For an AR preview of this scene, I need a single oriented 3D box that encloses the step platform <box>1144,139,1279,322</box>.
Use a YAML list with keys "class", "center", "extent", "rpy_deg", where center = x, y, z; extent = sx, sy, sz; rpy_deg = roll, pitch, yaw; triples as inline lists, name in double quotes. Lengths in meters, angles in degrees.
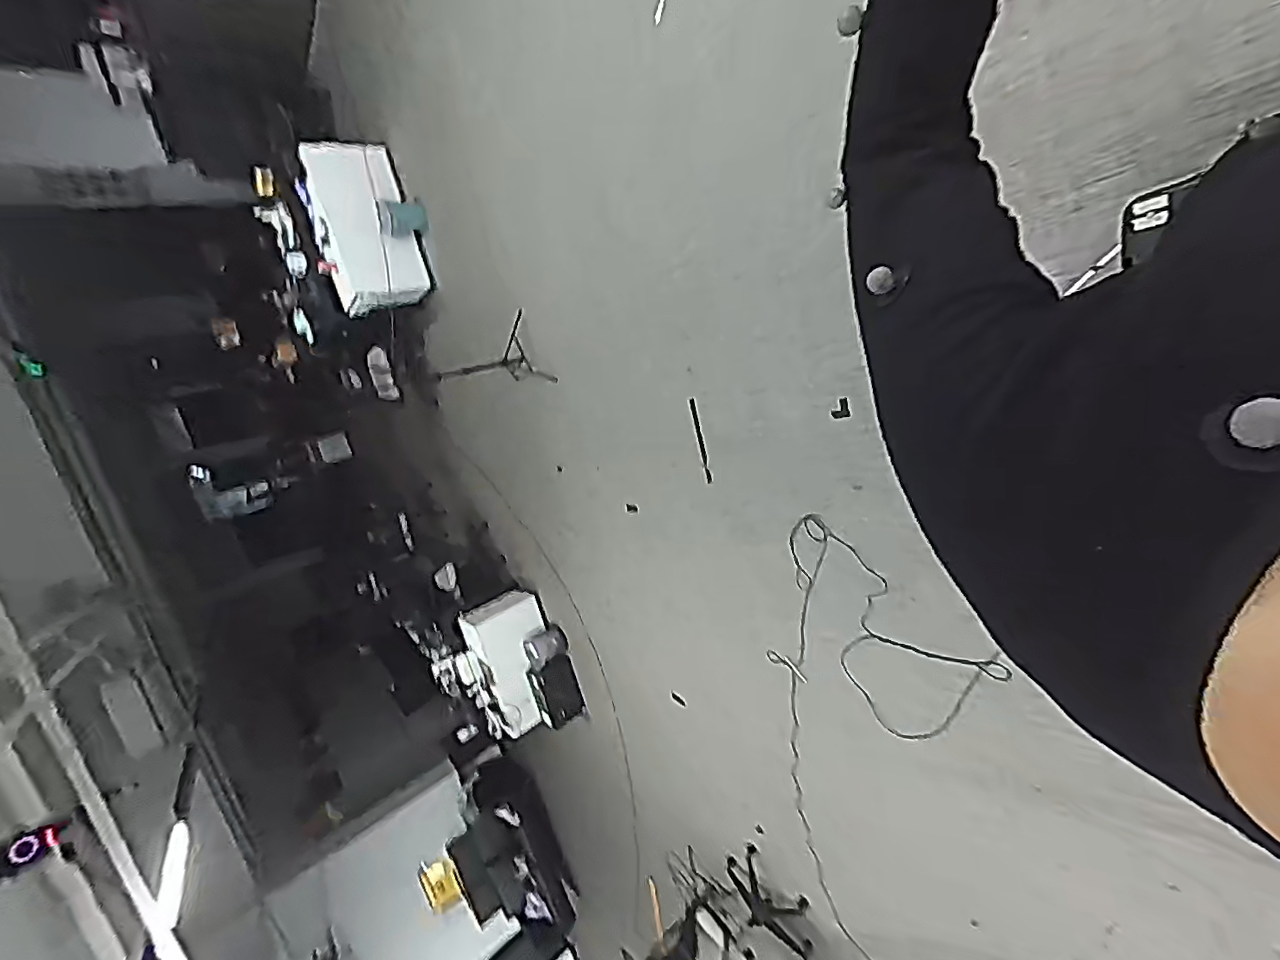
- class: "step platform"
  center: [1.265, -0.479, 0.855]
  extent: [0.684, 0.204, 0.286]
  rpy_deg: [-6, 104, 53]
